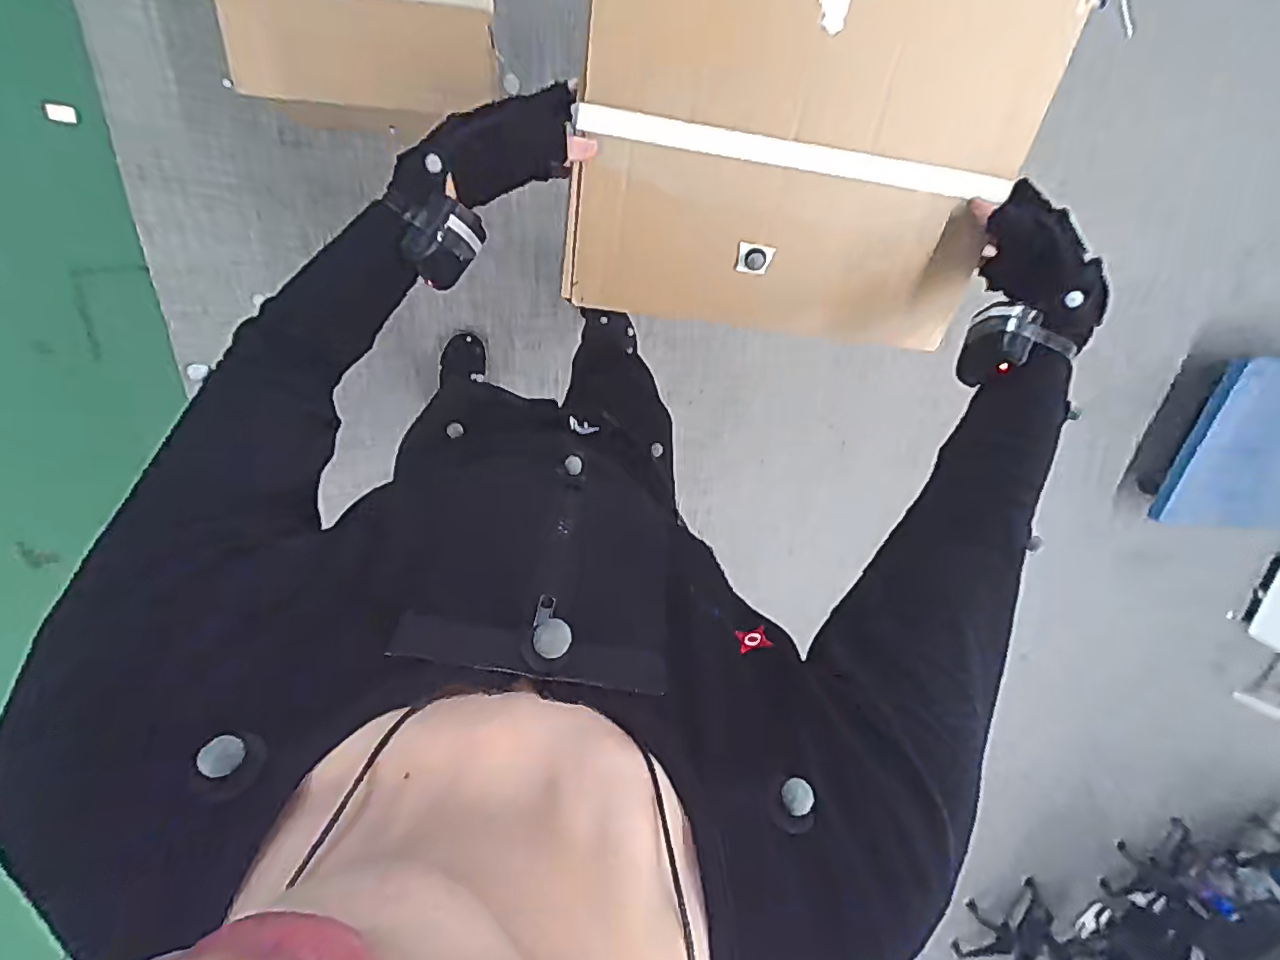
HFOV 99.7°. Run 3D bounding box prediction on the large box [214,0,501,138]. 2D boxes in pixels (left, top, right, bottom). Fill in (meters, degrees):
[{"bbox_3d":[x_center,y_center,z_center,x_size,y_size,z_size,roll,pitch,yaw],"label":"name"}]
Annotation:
[{"bbox_3d":[-0.472,-0.824,0.970,0.408,0.320,0.320,-2,114,-11],"label":"large box"}]
